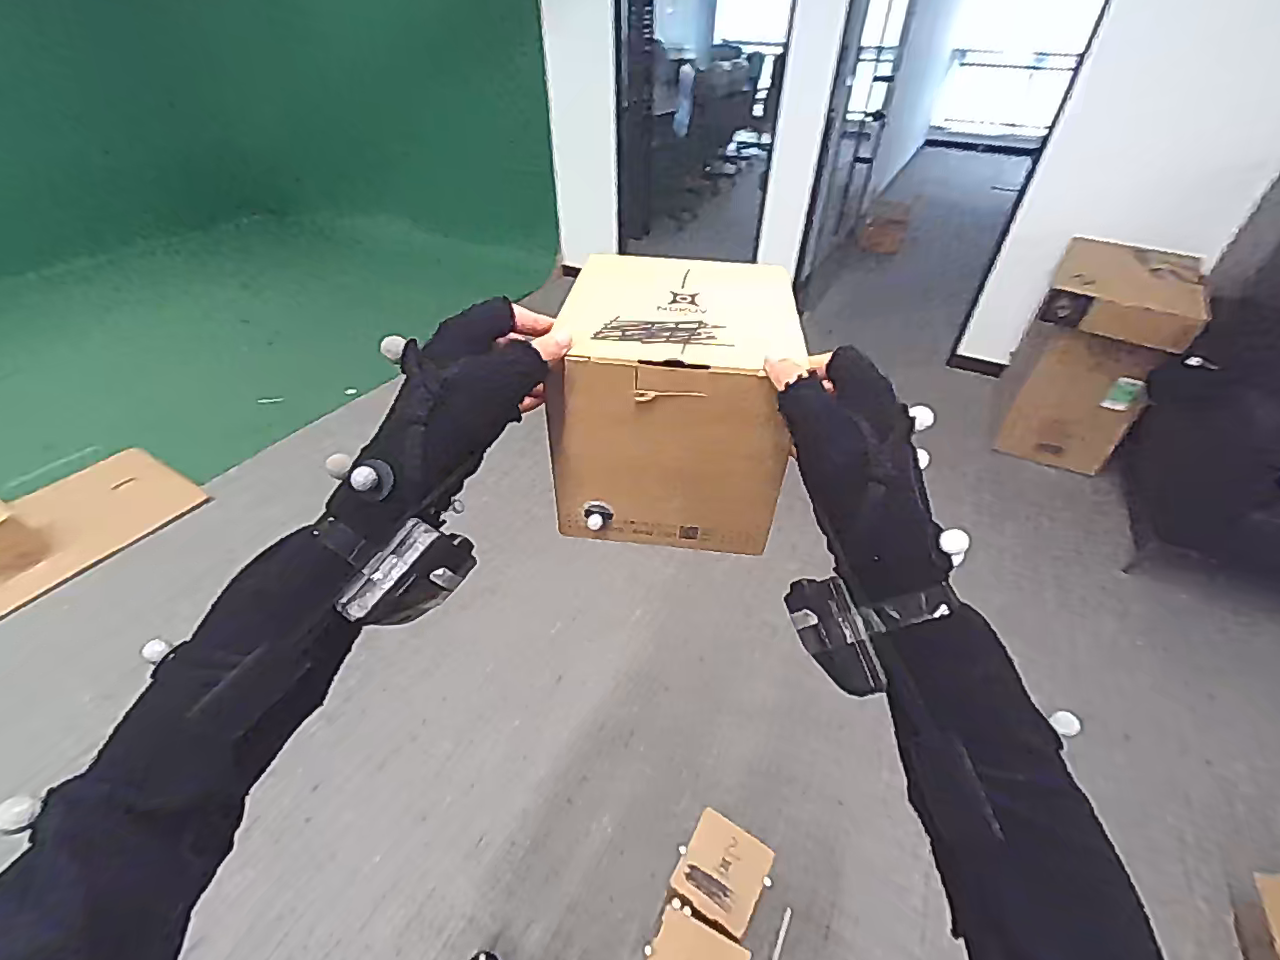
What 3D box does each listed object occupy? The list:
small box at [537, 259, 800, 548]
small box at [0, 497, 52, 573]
[{"bbox_3d":[0.025,-0.064,0.443,0.168,0.176,0.179,5,41,4],"label":"small box"},{"bbox_3d":[-2.201,0.189,1.850,0.179,0.176,0.168,22,47,22],"label":"small box"}]
